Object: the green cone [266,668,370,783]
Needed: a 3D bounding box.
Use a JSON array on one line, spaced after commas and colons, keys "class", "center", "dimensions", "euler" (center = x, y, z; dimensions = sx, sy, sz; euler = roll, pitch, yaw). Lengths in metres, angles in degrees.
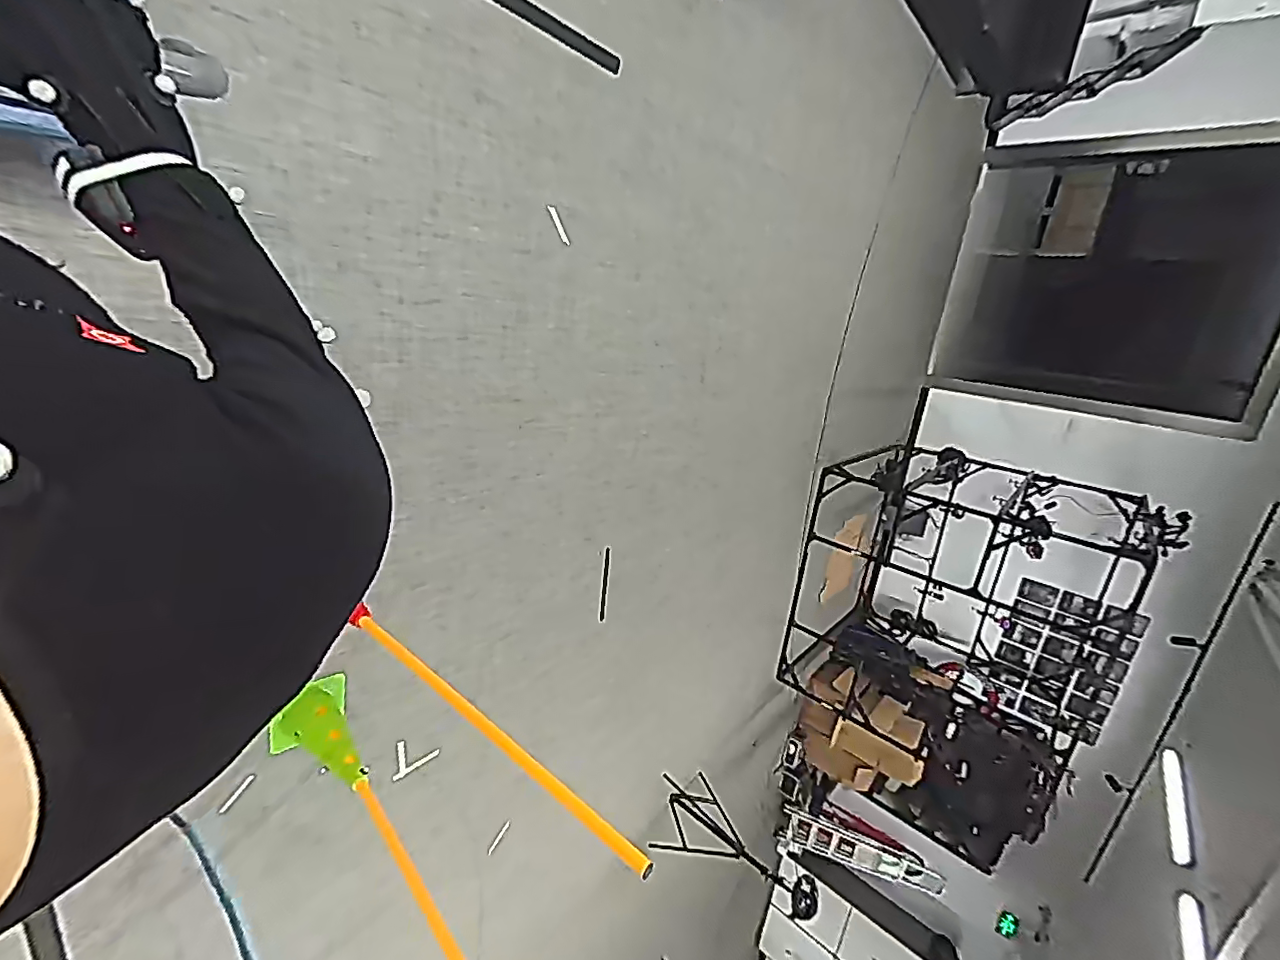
[{"class": "green cone", "center": [-0.856, 0.718, 1.493], "dimensions": [0.202, 0.368, 0.200], "euler": [-9, 113, -51]}]
